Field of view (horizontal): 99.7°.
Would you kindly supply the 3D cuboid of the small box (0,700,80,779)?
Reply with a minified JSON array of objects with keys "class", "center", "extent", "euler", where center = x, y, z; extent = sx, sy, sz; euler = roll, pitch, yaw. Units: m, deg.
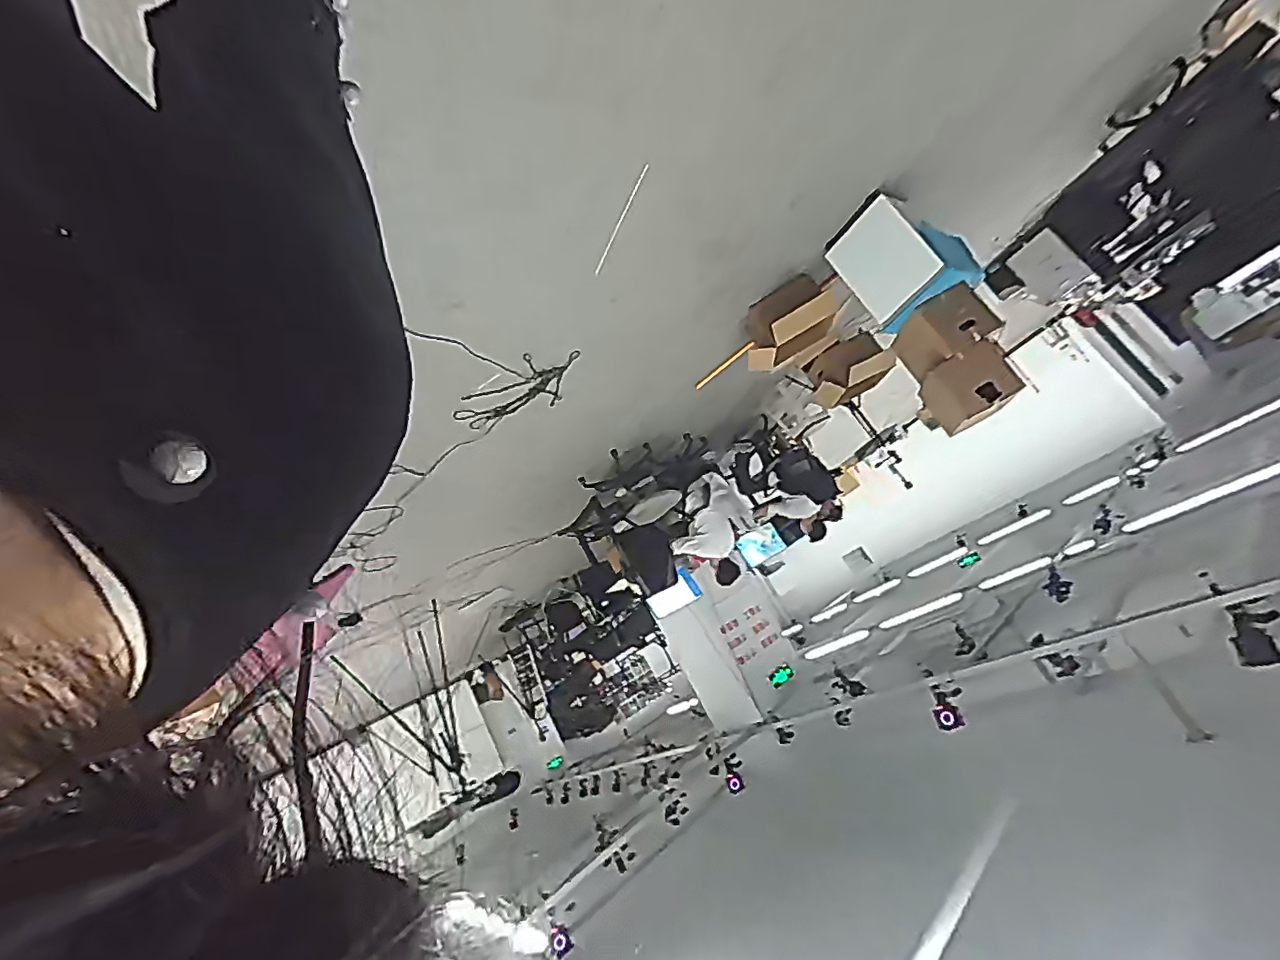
[{"class":"small box","center":[-1.613,0.694,1.402],"extent":[0.168,0.176,0.179],"euler":[-20,162,-34]}]

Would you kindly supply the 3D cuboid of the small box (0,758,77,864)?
[{"class":"small box","center":[-1.534,0.823,1.333],"extent":[0.179,0.176,0.168],"euler":[-14,159,-47]}]
